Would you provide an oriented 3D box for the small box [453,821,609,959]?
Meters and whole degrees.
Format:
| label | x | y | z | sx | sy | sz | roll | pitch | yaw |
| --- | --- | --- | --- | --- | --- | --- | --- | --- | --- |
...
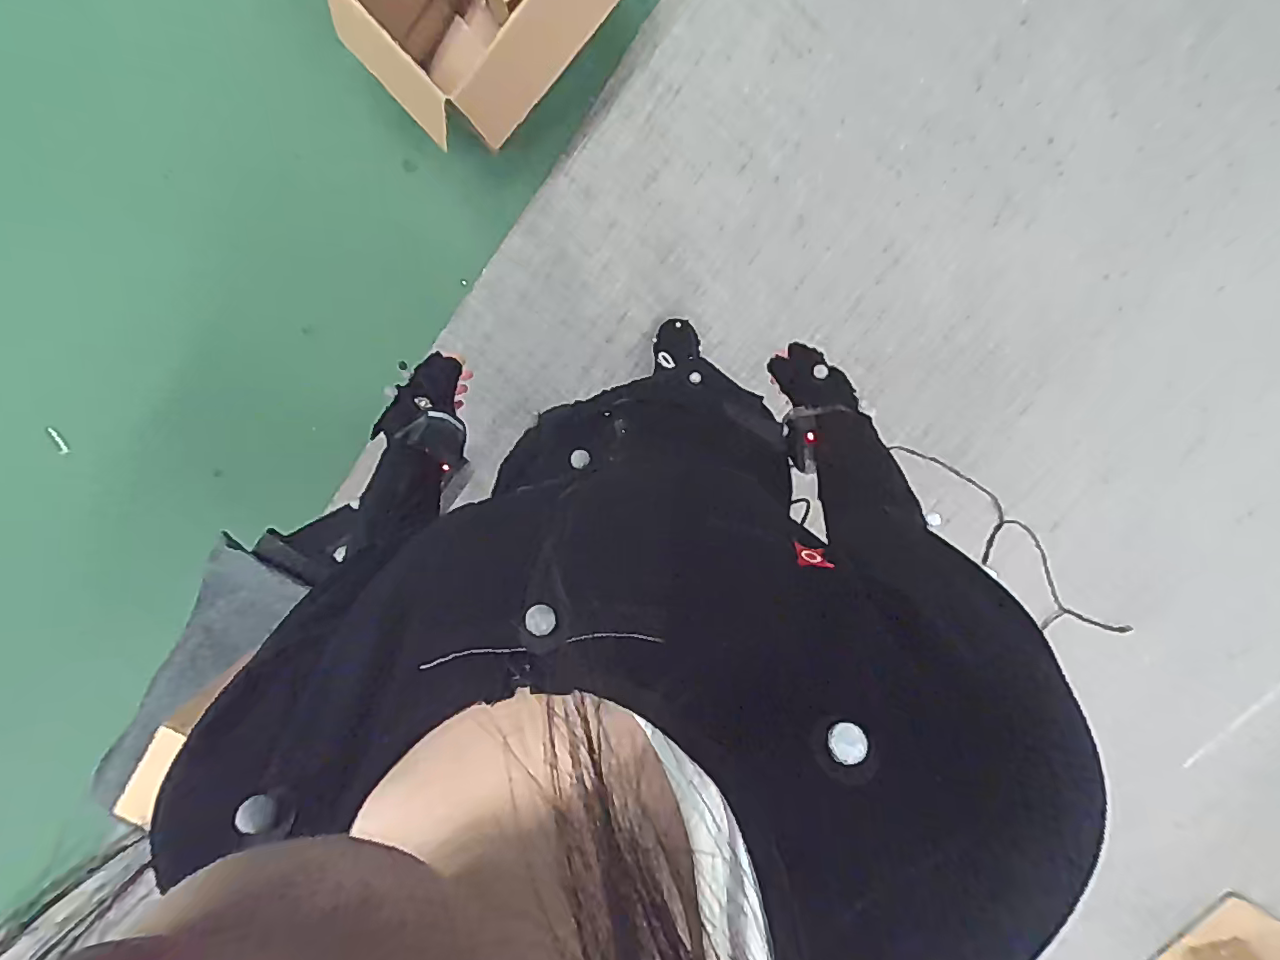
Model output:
| label | x | y | z | sx | sy | sz | roll | pitch | yaw |
| --- | --- | --- | --- | --- | --- | --- | --- | --- | --- |
| small box | -0.159 | 0.667 | 0.813 | 0.168 | 0.176 | 0.179 | 39 | 102 | -8 |
